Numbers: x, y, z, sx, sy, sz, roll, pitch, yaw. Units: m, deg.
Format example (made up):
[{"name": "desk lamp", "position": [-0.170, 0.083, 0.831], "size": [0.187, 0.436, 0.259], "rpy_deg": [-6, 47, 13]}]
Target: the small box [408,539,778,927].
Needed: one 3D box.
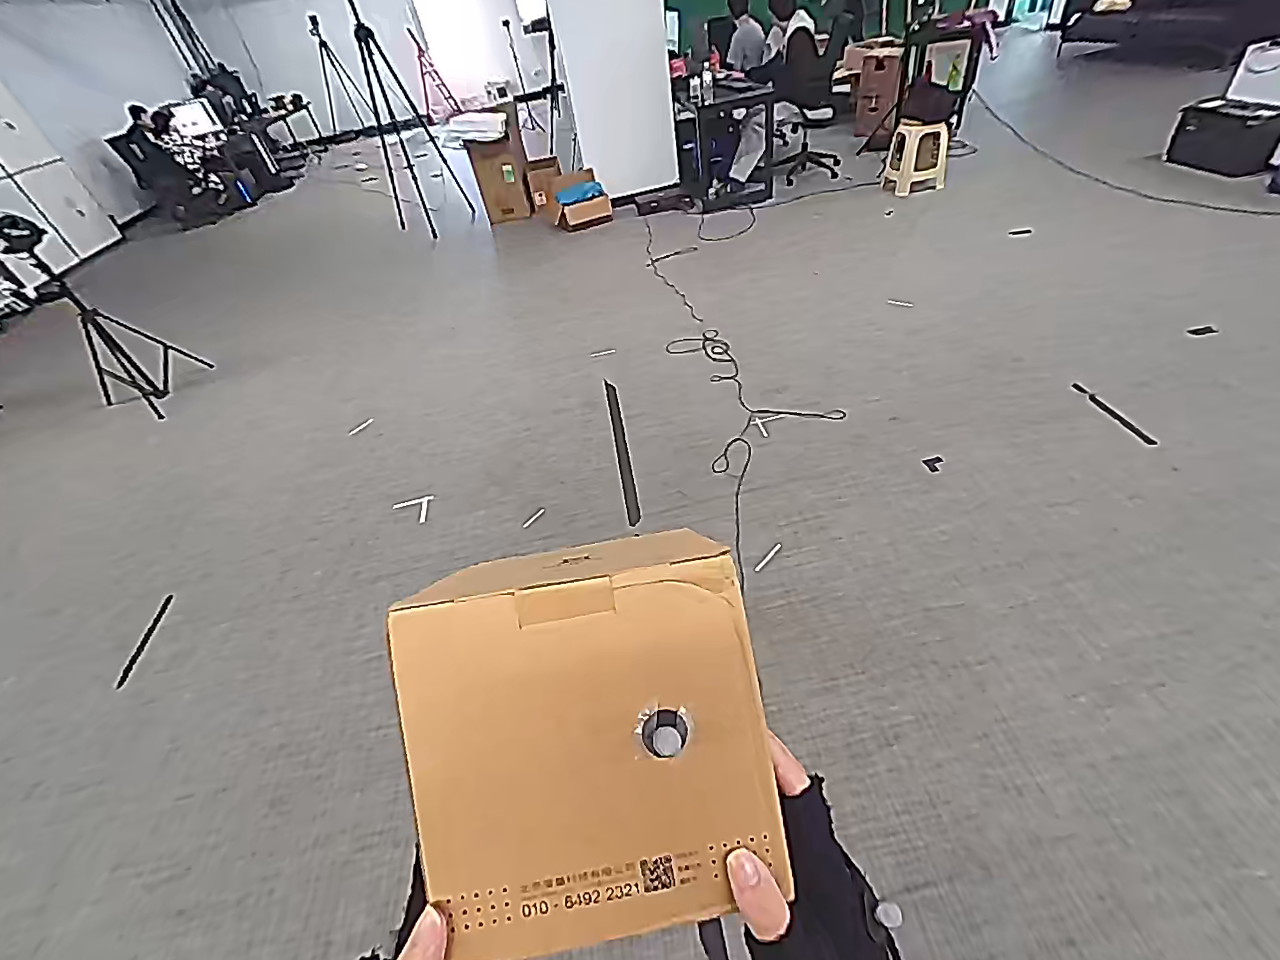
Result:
[{"name": "small box", "position": [-0.022, 0.141, 0.347], "size": [0.168, 0.176, 0.179], "rpy_deg": [-9, -2, -2]}]
